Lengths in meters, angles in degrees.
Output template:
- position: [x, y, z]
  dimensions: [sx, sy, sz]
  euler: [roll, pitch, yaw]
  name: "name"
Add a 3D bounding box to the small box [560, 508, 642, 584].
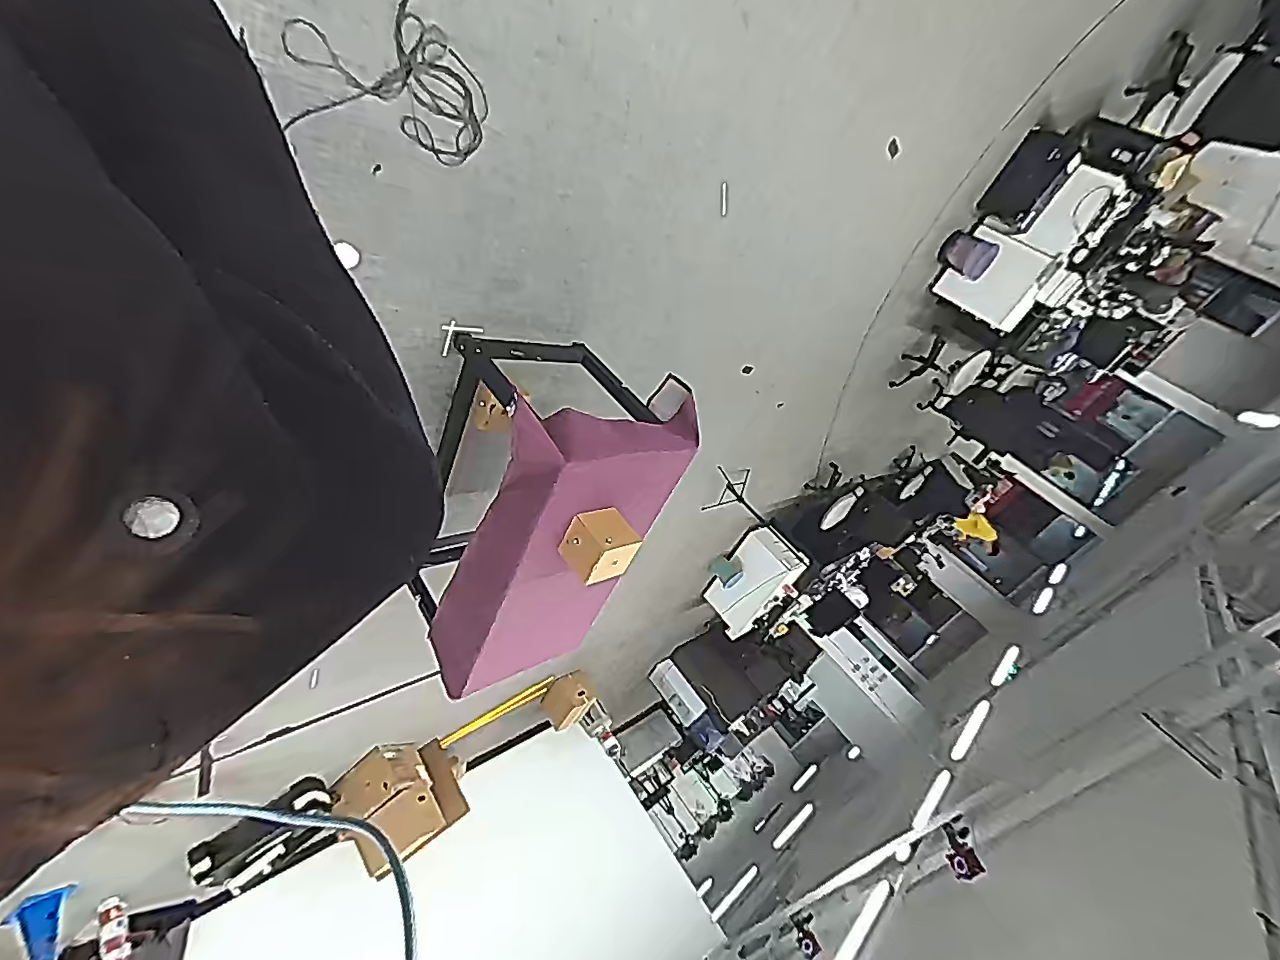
- position: [-0.131, 0.210, 1.784]
  dimensions: [0.179, 0.176, 0.168]
  euler: [-9, 137, -46]
  name: "small box"
